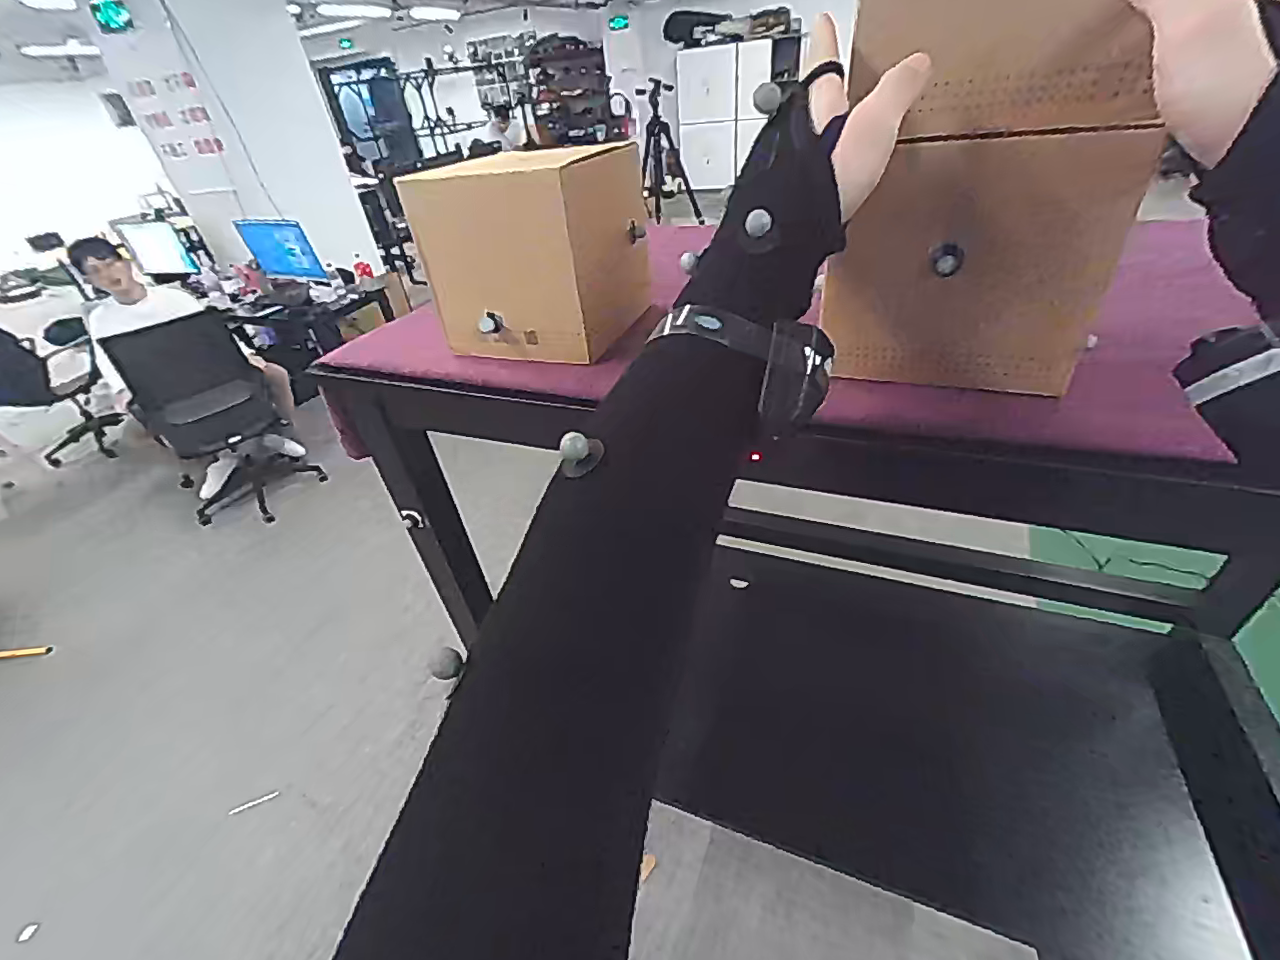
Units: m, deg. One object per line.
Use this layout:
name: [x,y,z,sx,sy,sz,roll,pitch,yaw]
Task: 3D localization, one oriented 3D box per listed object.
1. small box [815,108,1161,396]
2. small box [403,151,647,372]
small box: [0.246,-0.179,0.428,0.179,0.176,0.168,9,38,23]
small box: [-0.098,-0.227,0.555,0.168,0.176,0.179,8,38,21]
